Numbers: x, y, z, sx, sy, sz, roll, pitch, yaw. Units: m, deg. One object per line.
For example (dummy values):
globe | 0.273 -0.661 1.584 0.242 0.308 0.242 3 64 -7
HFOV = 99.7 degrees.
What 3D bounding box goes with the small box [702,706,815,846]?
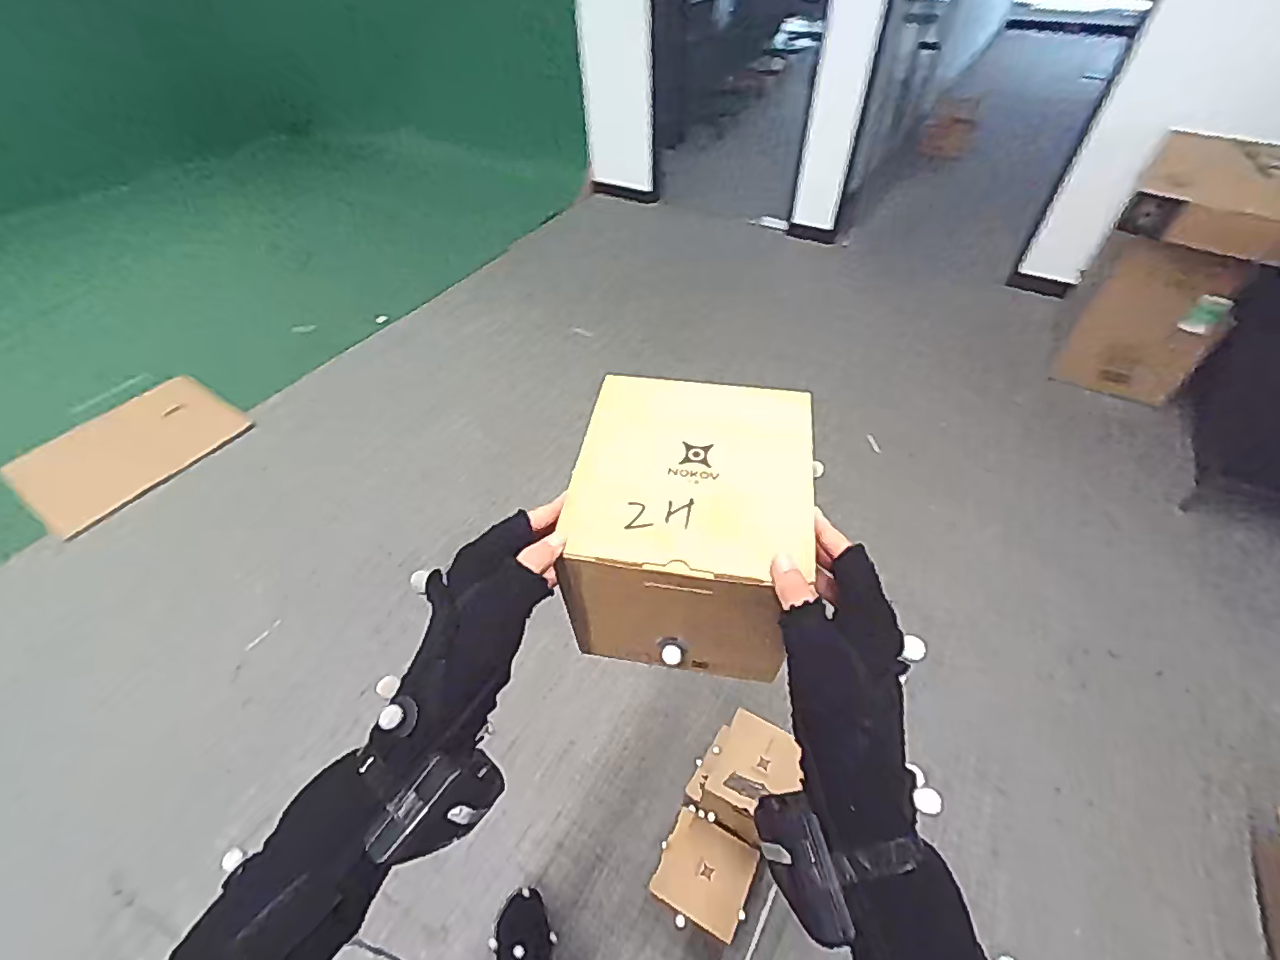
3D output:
small box | 0.235 0.604 1.097 0.168 0.176 0.179 23 52 20
